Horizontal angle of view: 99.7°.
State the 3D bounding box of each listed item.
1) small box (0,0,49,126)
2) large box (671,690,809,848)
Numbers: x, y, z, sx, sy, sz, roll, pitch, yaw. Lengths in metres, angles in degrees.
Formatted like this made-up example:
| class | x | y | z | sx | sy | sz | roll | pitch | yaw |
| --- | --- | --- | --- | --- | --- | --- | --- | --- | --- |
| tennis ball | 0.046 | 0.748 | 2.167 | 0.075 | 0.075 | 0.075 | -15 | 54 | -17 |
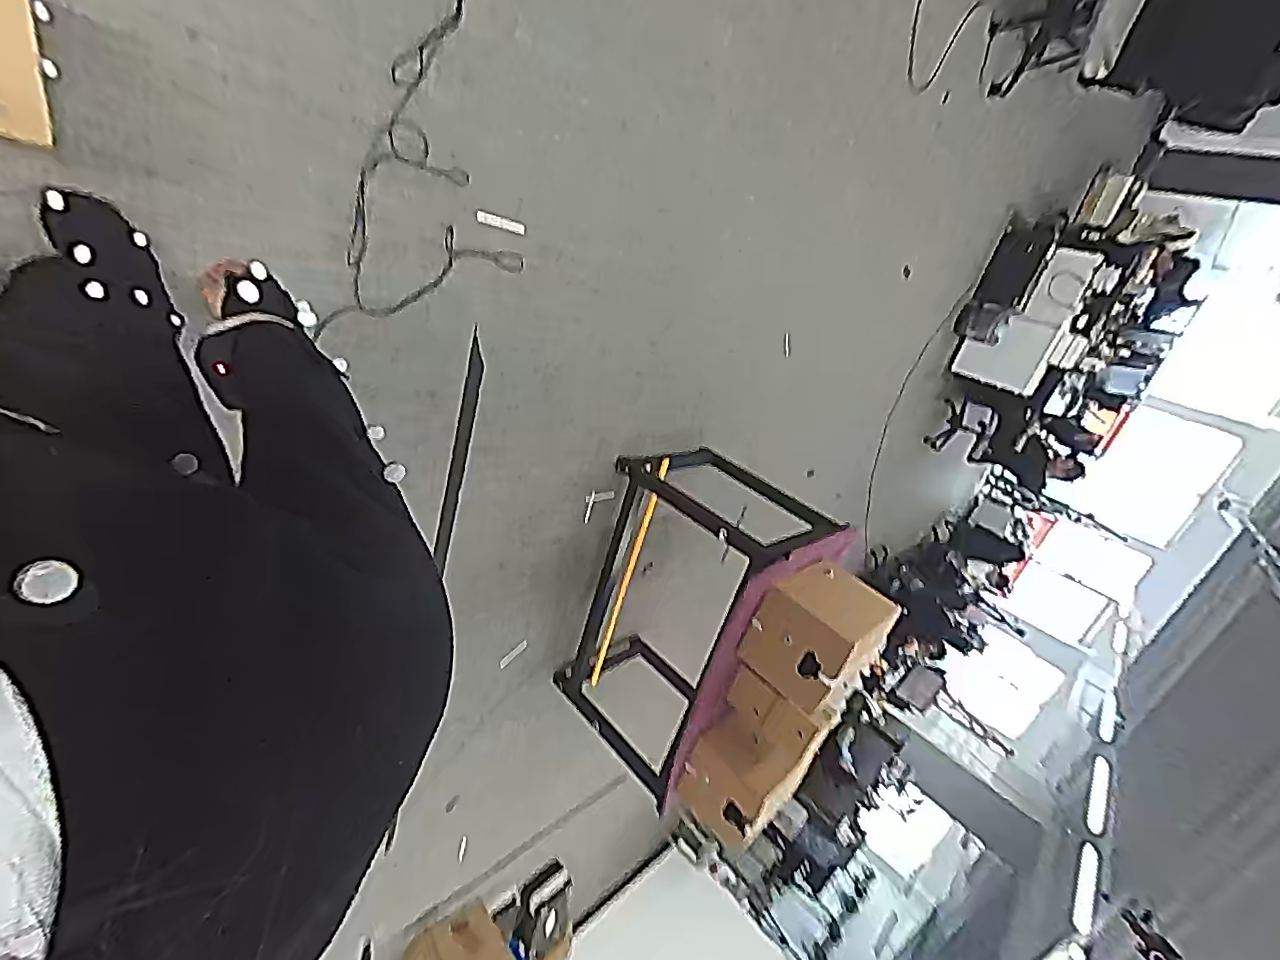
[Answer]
| class | x | y | z | sx | sy | sz | roll | pitch | yaw |
| --- | --- | --- | --- | --- | --- | --- | --- | --- | --- |
| small box | -0.870 | -0.561 | 0.660 | 0.168 | 0.176 | 0.179 | -15 | 129 | -43 |
| large box | 0.389 | 1.108 | 2.122 | 0.408 | 0.320 | 0.320 | -10 | 126 | -48 |
